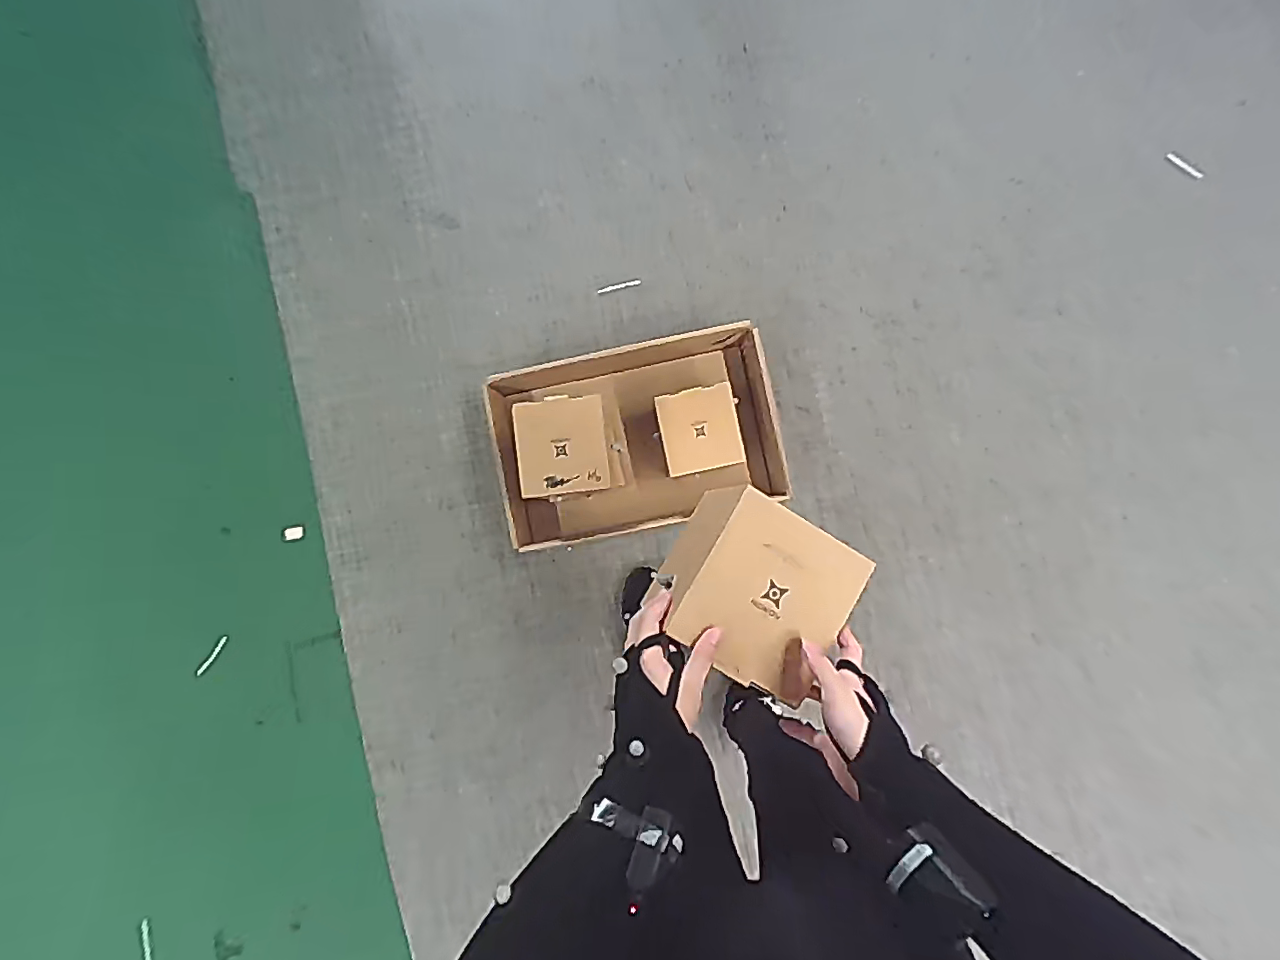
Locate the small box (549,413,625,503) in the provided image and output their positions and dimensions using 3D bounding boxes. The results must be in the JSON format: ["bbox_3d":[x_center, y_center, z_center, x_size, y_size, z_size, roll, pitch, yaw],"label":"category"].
[{"bbox_3d":[-0.131,-0.049,1.233,0.168,0.176,0.179,-13,88,0],"label":"small box"}]

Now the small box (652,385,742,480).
[{"bbox_3d":[0.126,-0.101,1.230,0.168,0.176,0.179,-12,88,2],"label":"small box"}]

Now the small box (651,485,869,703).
[{"bbox_3d":[0.127,0.123,0.647,0.168,0.176,0.179,32,83,-6],"label":"small box"}]

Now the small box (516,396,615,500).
[{"bbox_3d":[-0.141,-0.056,1.070,0.168,0.176,0.179,-6,87,0],"label":"small box"}]
